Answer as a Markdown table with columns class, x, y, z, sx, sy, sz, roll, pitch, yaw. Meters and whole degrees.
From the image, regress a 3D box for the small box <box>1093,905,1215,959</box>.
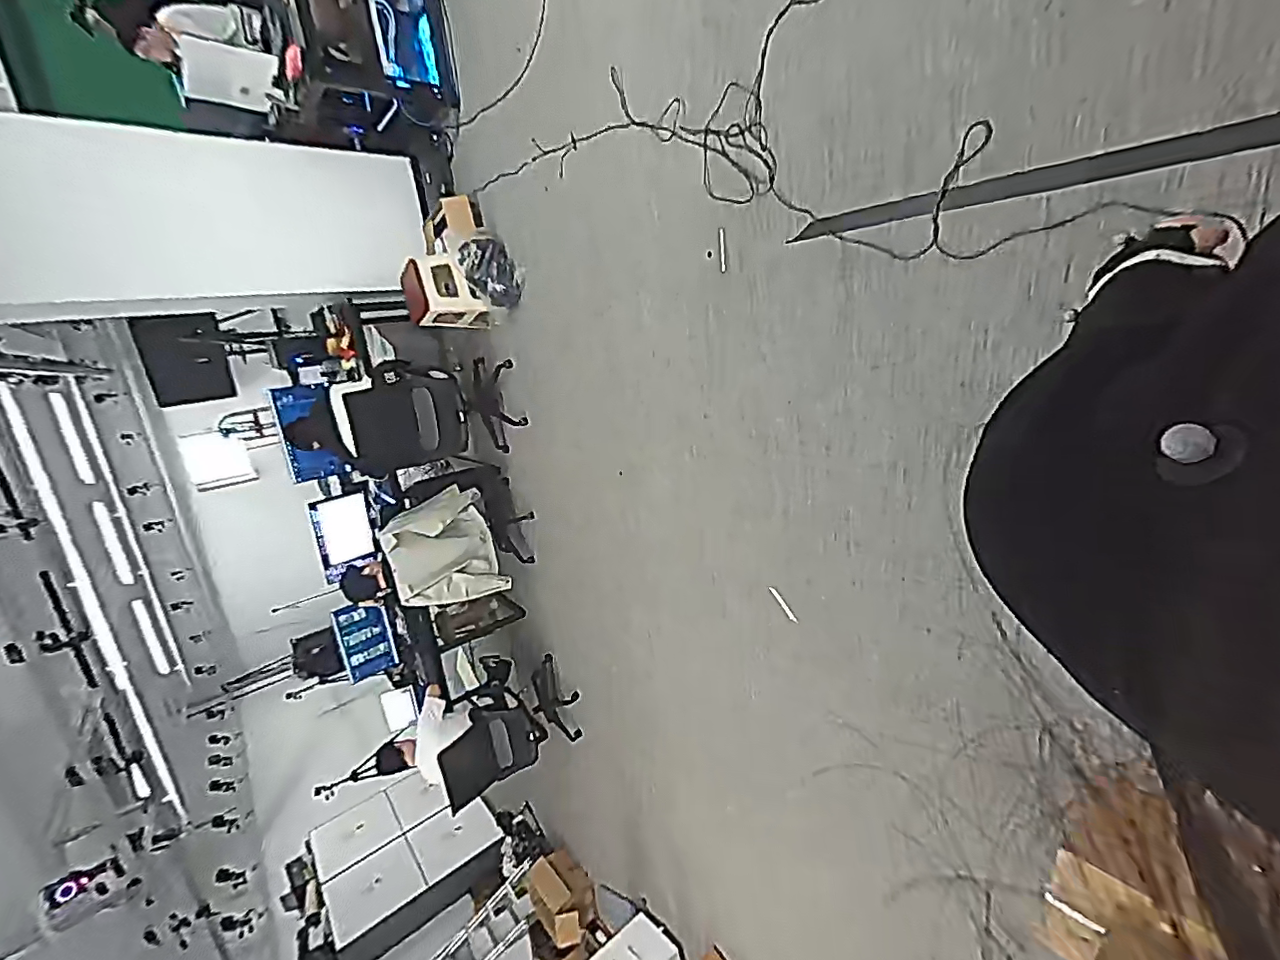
| class | x | y | z | sx | sy | sz | roll | pitch | yaw |
| --- | --- | --- | --- | --- | --- | --- | --- | --- | --- |
| small box | 1.008 | 0.999 | 1.057 | 0.179 | 0.176 | 0.168 | 13 | 113 | 51 |
